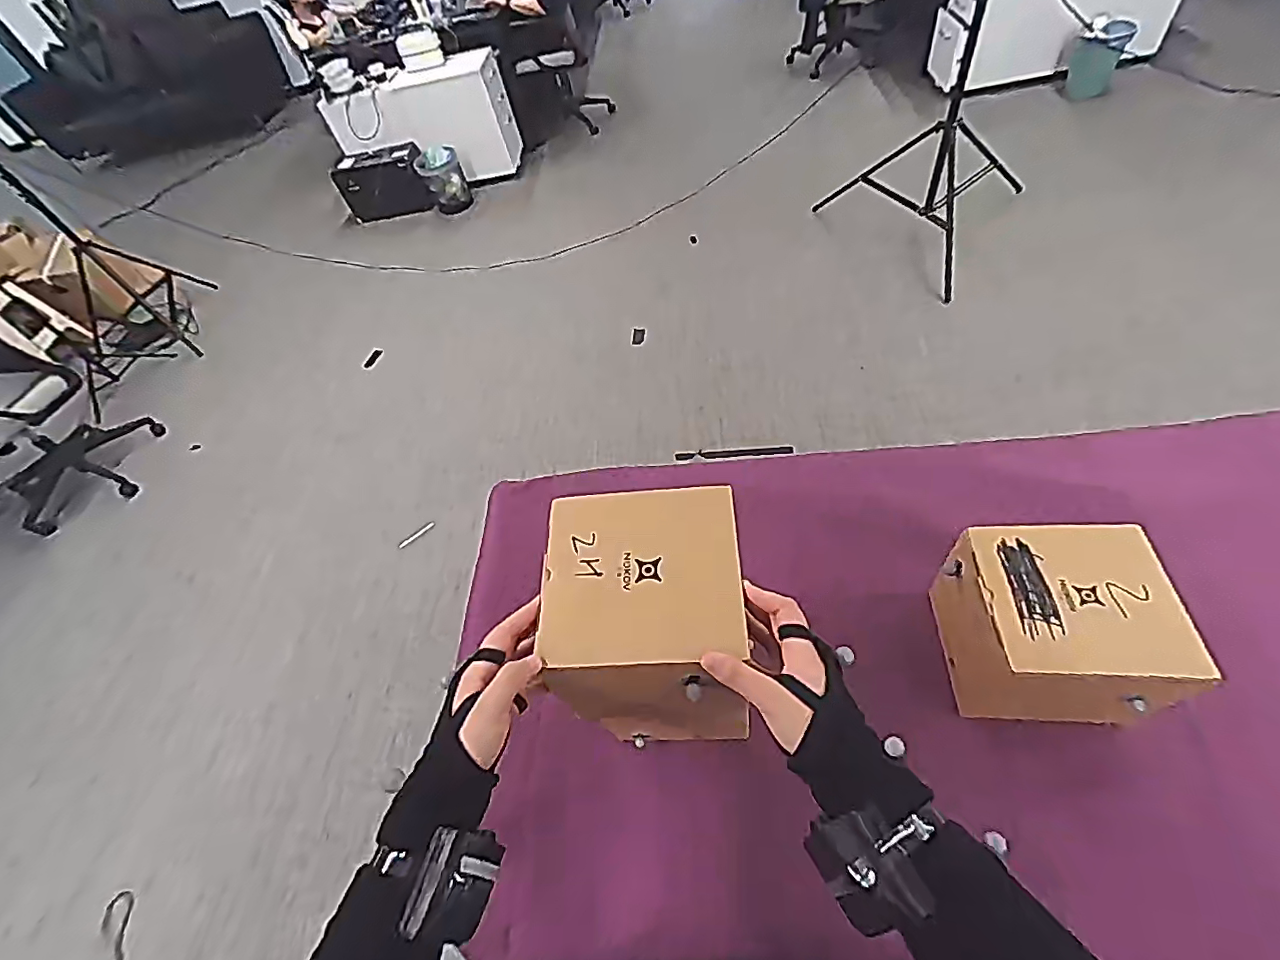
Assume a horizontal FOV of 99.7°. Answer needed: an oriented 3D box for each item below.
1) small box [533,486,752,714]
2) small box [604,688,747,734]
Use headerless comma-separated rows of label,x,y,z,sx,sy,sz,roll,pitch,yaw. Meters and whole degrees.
small box,0.012,0.124,0.532,0.179,0.176,0.168,-5,53,8
small box,0.042,0.208,0.671,0.168,0.176,0.179,-5,52,8
